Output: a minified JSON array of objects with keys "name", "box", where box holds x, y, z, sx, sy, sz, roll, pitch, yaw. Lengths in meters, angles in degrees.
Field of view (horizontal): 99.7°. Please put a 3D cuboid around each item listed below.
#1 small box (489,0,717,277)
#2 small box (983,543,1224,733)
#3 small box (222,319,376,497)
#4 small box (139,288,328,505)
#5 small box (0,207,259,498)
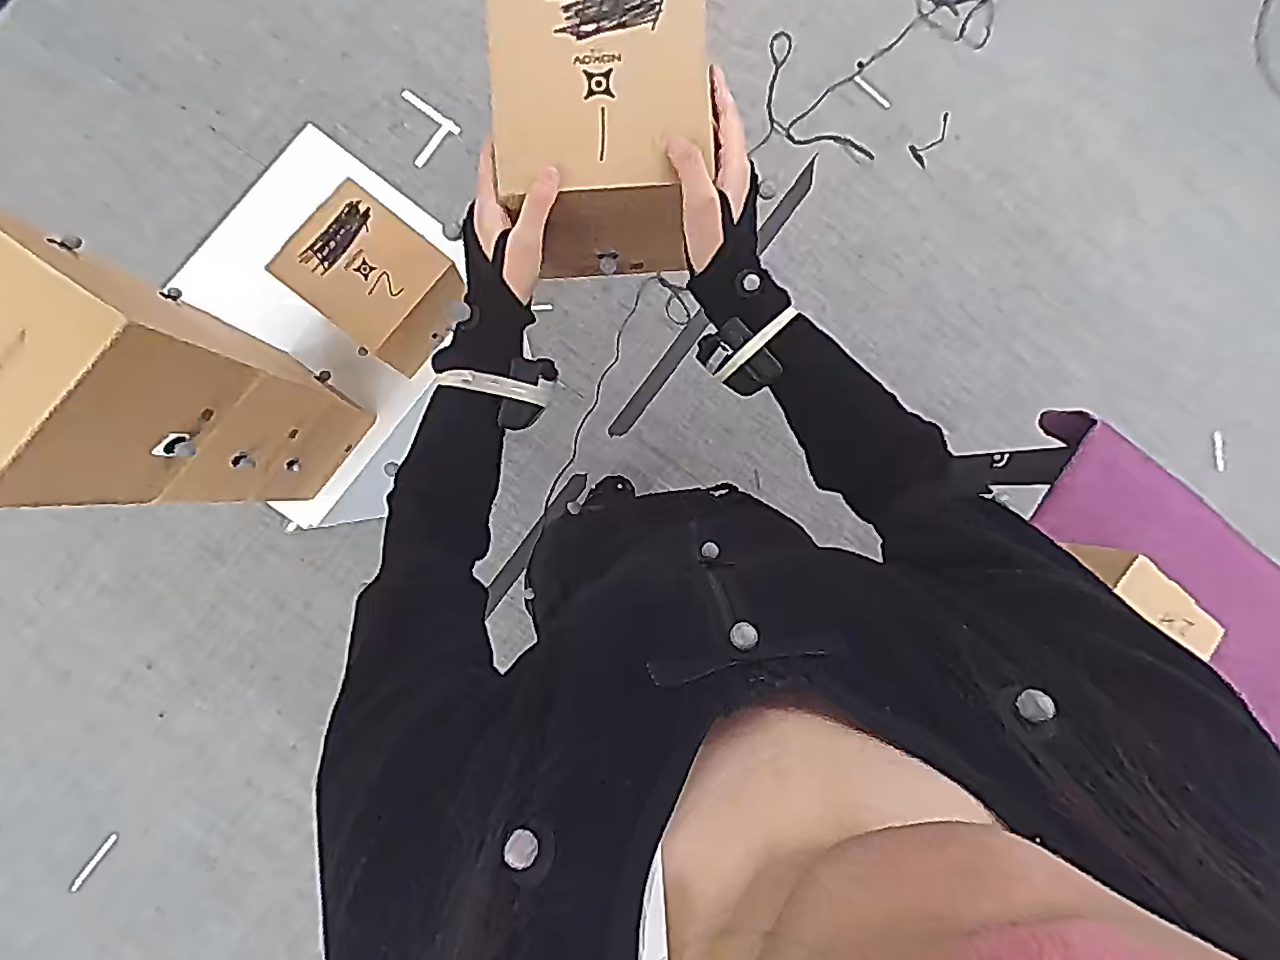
[{"name":"small box","box":[-0.029,-0.300,0.478,0.168,0.176,0.179,-4,90,0]},{"name":"small box","box":[0.636,0.209,0.769,0.168,0.176,0.179,40,84,-5]},{"name":"small box","box":[-0.517,-0.087,0.761,0.179,0.176,0.168,37,84,-4]},{"name":"small box","box":[-0.494,-0.090,0.599,0.179,0.176,0.168,36,85,-5]},{"name":"small box","box":[-0.474,-0.095,0.438,0.179,0.176,0.168,35,86,-6]}]
